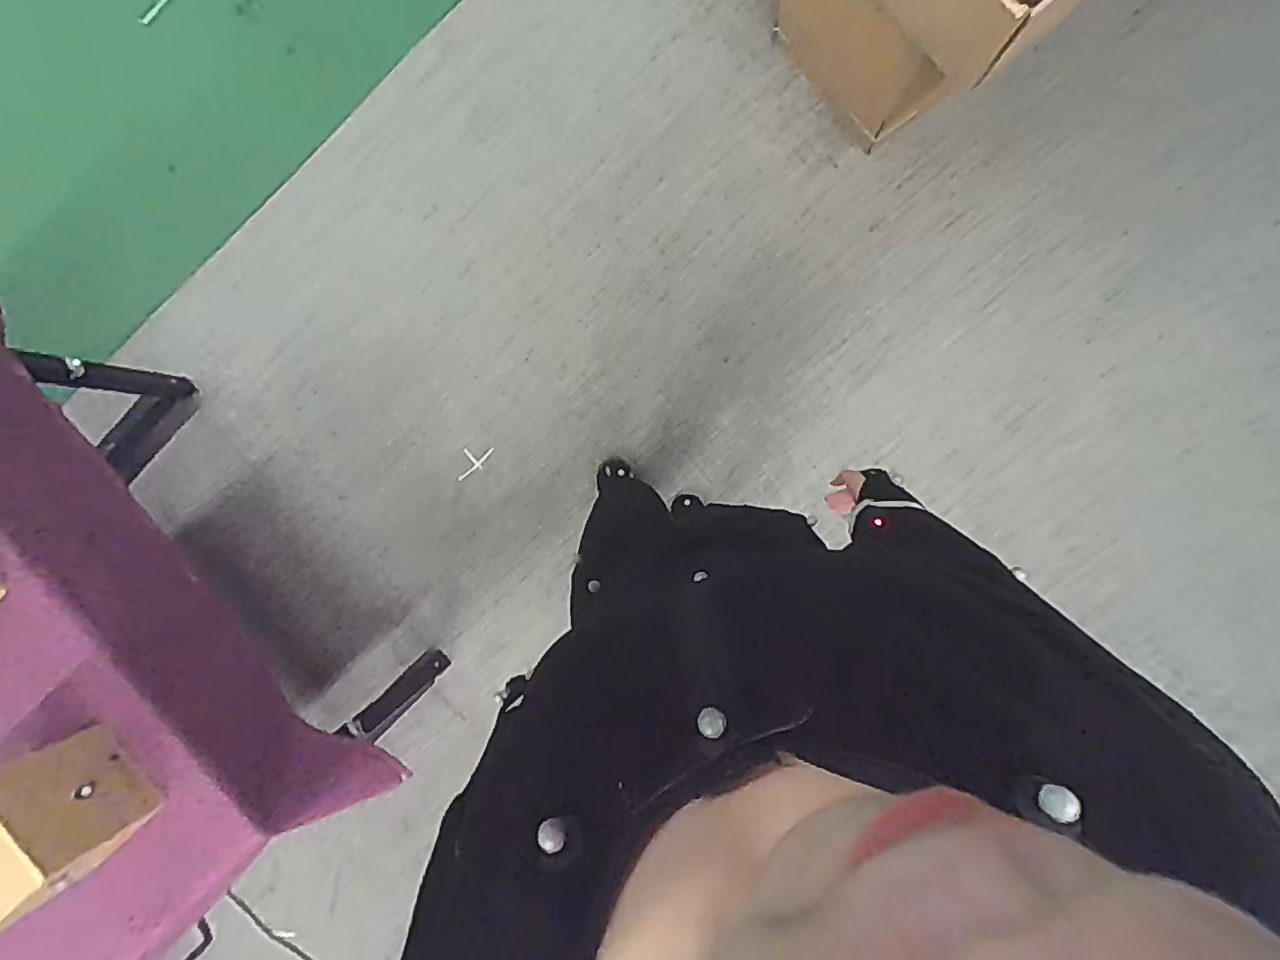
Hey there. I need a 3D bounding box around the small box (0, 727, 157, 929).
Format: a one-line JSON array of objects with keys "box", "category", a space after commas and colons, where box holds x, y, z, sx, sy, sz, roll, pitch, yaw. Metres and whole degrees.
[{"box": [-0.869, 0.503, 0.787, 0.179, 0.176, 0.168, -41, 87, 6], "category": "small box"}]
